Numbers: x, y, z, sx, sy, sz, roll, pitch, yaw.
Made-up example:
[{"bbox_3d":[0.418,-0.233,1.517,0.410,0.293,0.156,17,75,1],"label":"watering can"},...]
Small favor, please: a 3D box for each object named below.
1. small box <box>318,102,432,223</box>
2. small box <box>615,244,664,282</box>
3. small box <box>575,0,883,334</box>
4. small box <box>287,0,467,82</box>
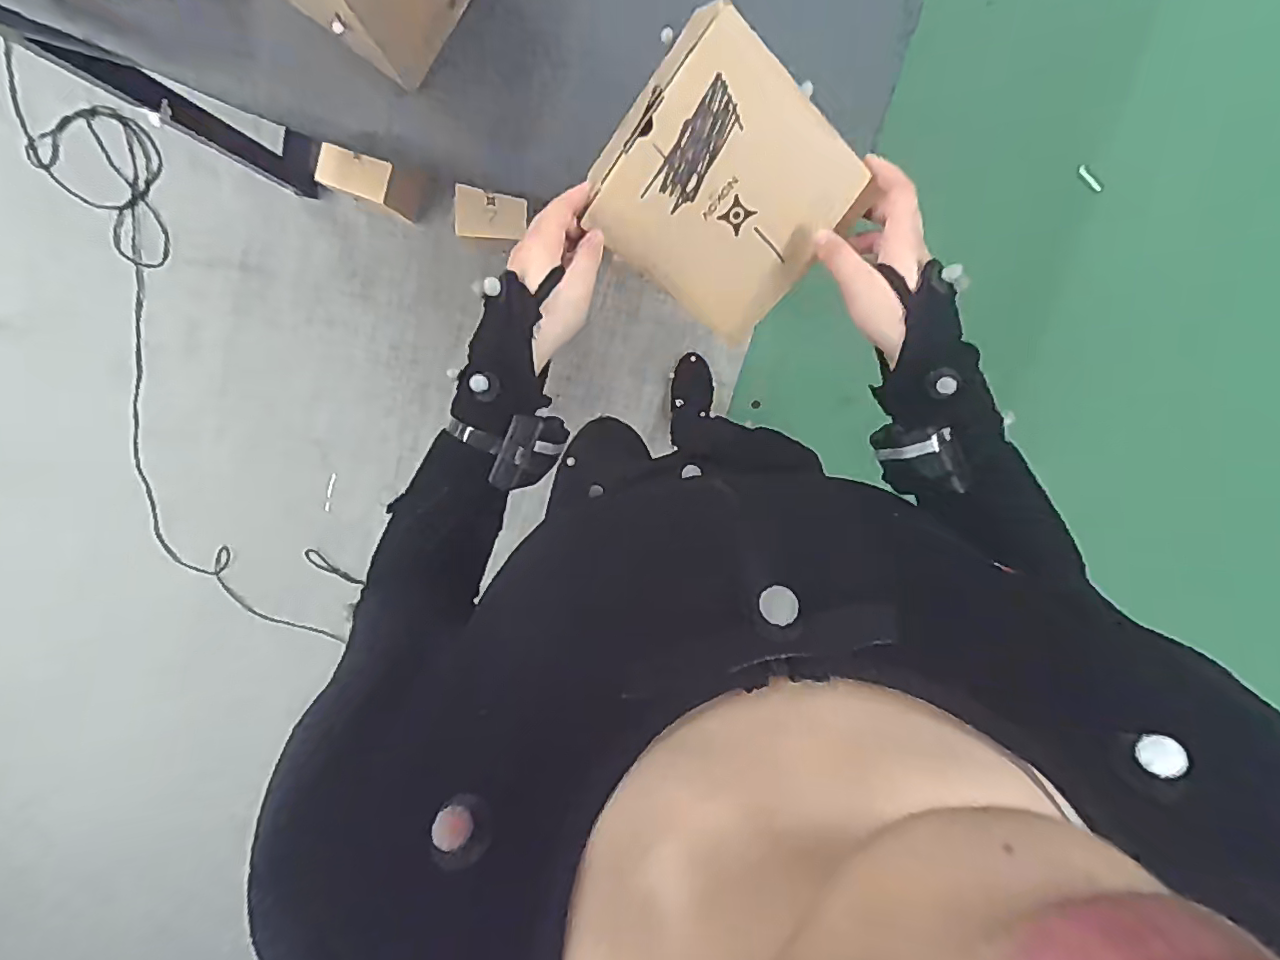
[{"bbox_3d":[-0.620,-0.741,1.286,0.168,0.176,0.179,19,99,-1],"label":"small box"},{"bbox_3d":[0.040,-0.580,1.289,0.168,0.176,0.179,10,100,-1],"label":"small box"},{"bbox_3d":[0.064,-0.268,0.469,0.179,0.176,0.168,30,123,-24],"label":"small box"},{"bbox_3d":[-0.301,-0.570,0.564,0.179,0.176,0.168,35,96,-3],"label":"small box"}]
